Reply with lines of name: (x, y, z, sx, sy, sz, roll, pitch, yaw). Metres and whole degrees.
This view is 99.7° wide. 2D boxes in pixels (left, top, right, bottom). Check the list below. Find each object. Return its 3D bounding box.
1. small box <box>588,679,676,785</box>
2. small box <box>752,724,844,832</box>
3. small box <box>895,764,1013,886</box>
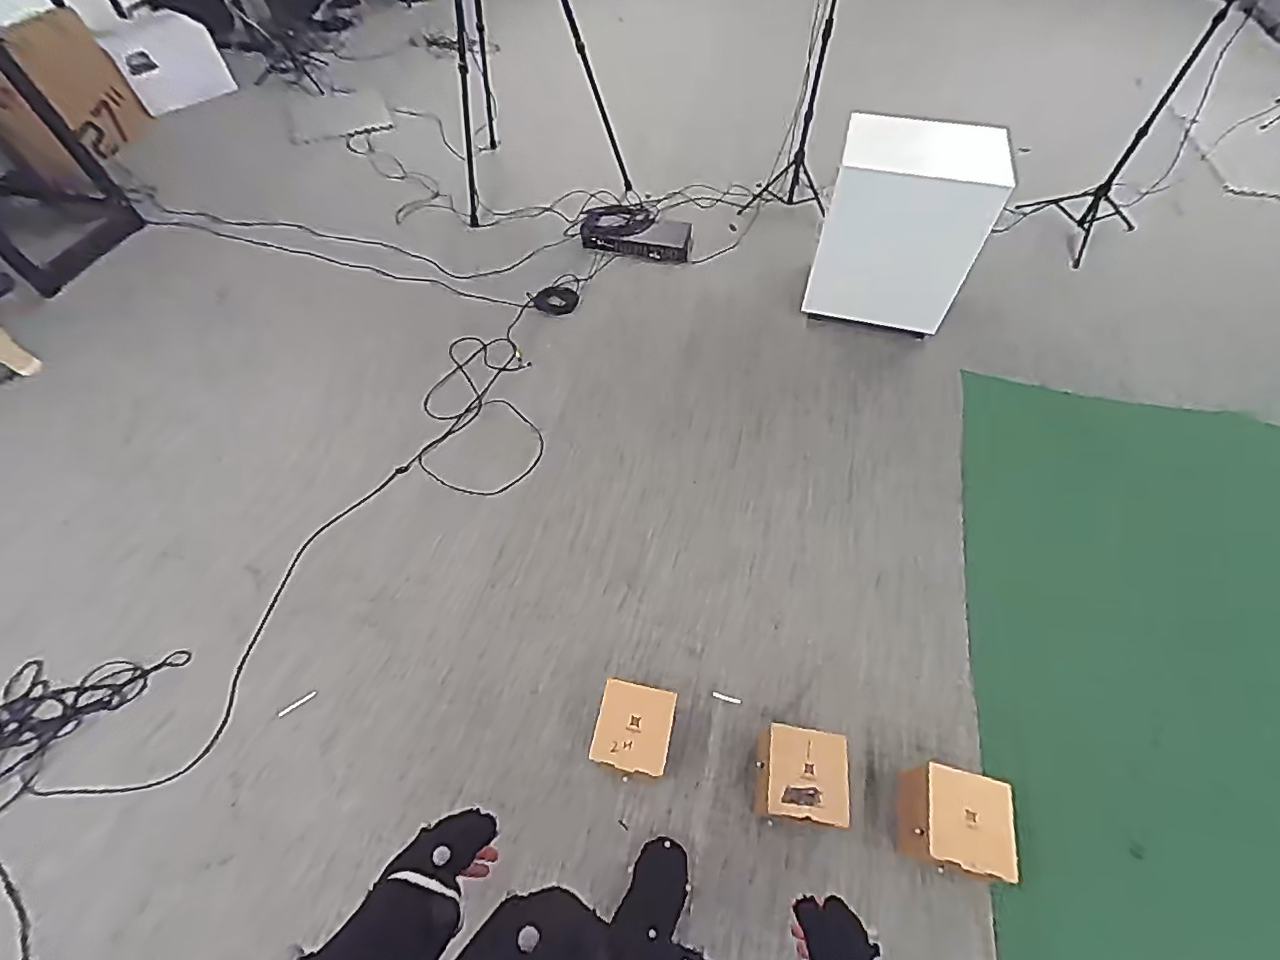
small box: (-0.015, 0.589, 1.258, 0.168, 0.176, 0.179, 10, 57, 8)
small box: (0.348, 0.668, 1.206, 0.168, 0.176, 0.179, 9, 55, 6)
small box: (0.662, 0.737, 1.160, 0.168, 0.176, 0.179, 13, 57, 10)
